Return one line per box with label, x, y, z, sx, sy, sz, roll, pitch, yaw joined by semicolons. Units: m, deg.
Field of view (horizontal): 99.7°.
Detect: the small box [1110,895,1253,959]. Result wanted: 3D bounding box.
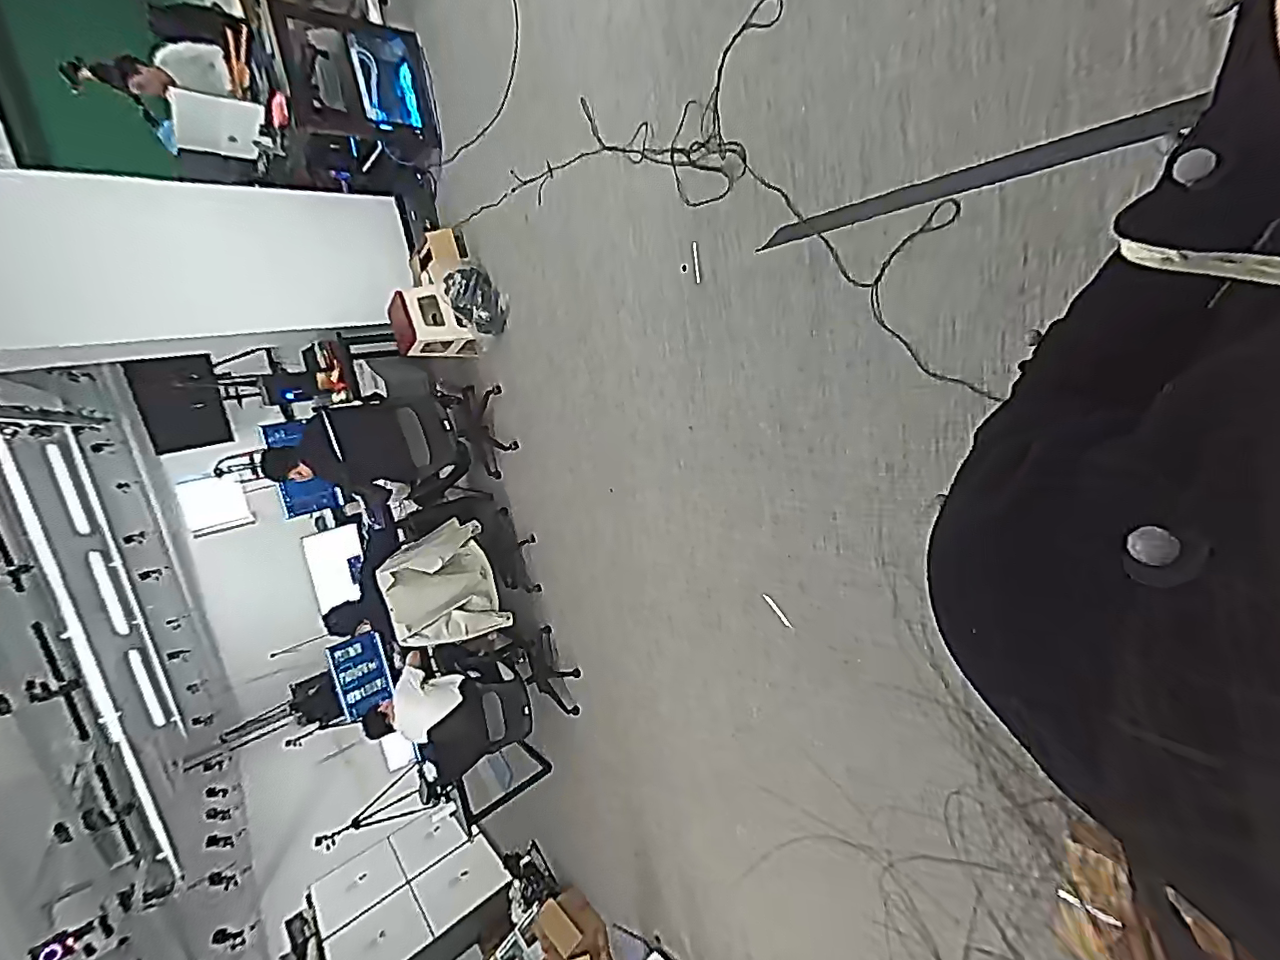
small box;1.008;0.941;1.010;0.179;0.176;0.168;7;109;51
